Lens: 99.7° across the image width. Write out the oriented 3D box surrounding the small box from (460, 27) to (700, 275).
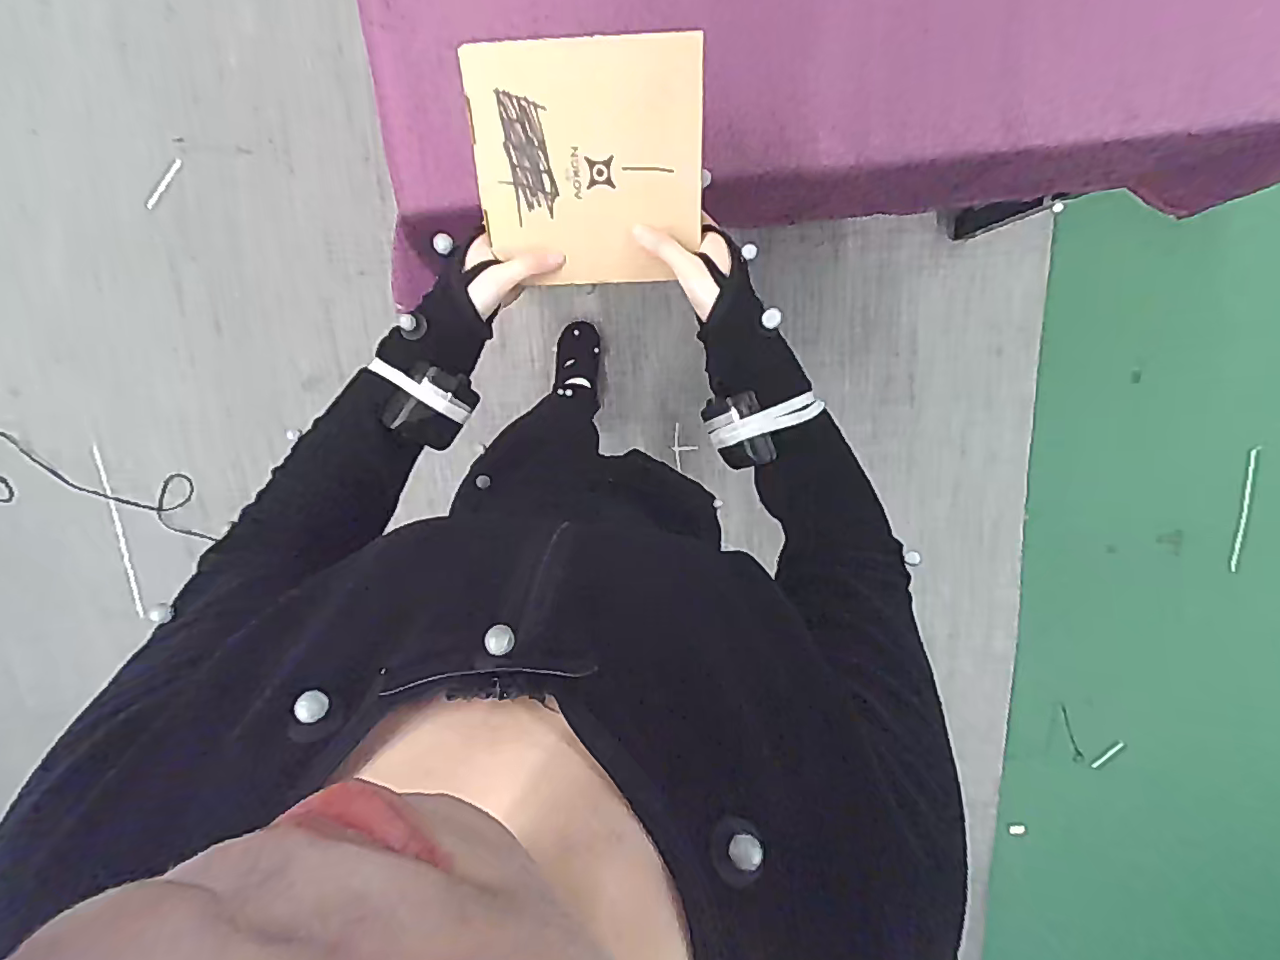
[{"bbox_3d":[-0.040,-0.283,0.491,0.179,0.176,0.168,-1,118,2],"label":"small box"}]
